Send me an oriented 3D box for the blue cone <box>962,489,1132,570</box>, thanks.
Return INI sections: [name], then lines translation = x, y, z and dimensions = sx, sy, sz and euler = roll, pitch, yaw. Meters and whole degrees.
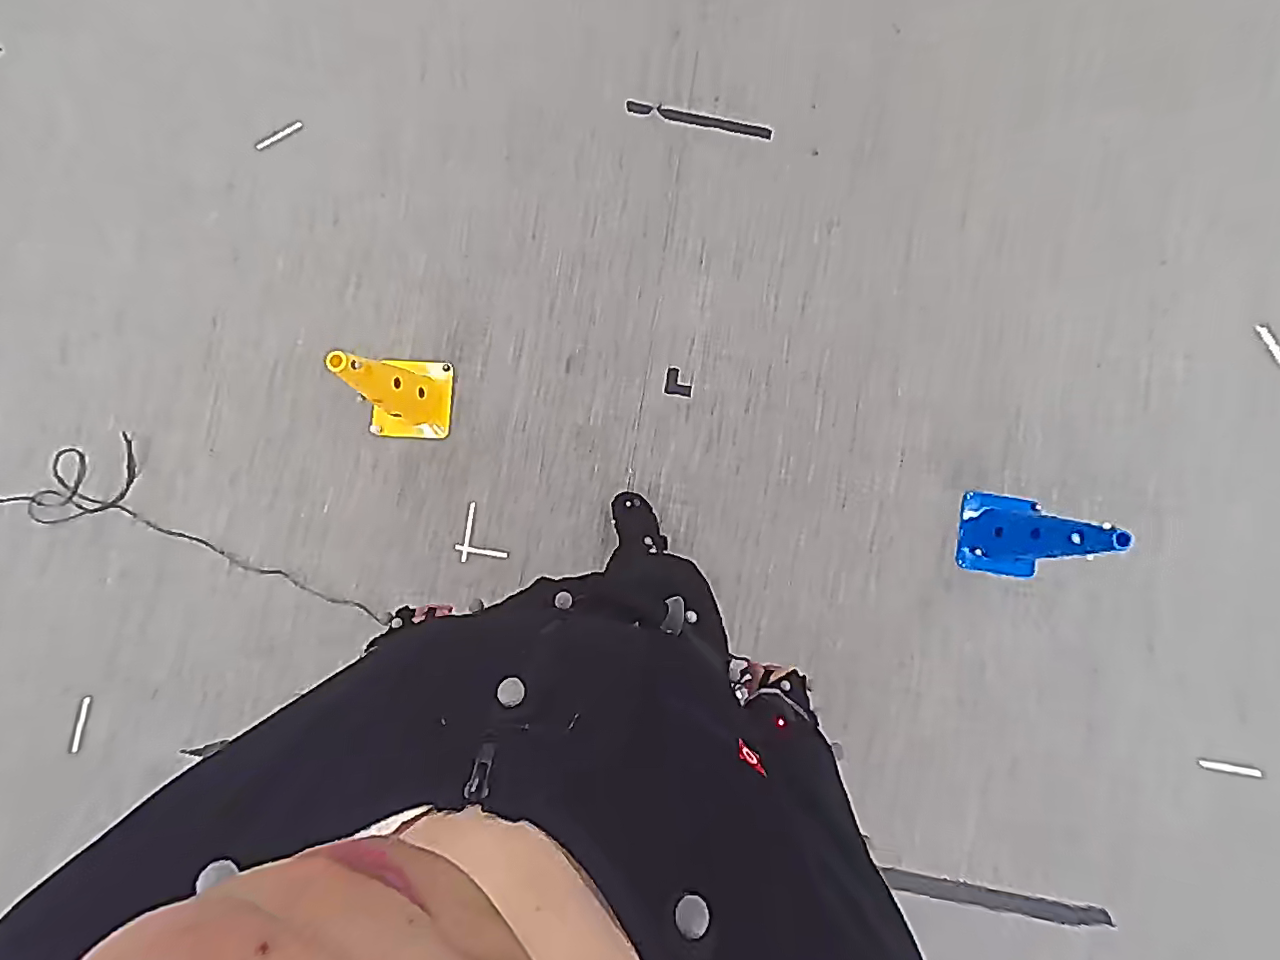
[blue cone]
translation = 0.912, 0.111, 1.204
dimensions = 0.193, 0.380, 0.192
euler = 10, 85, 1
